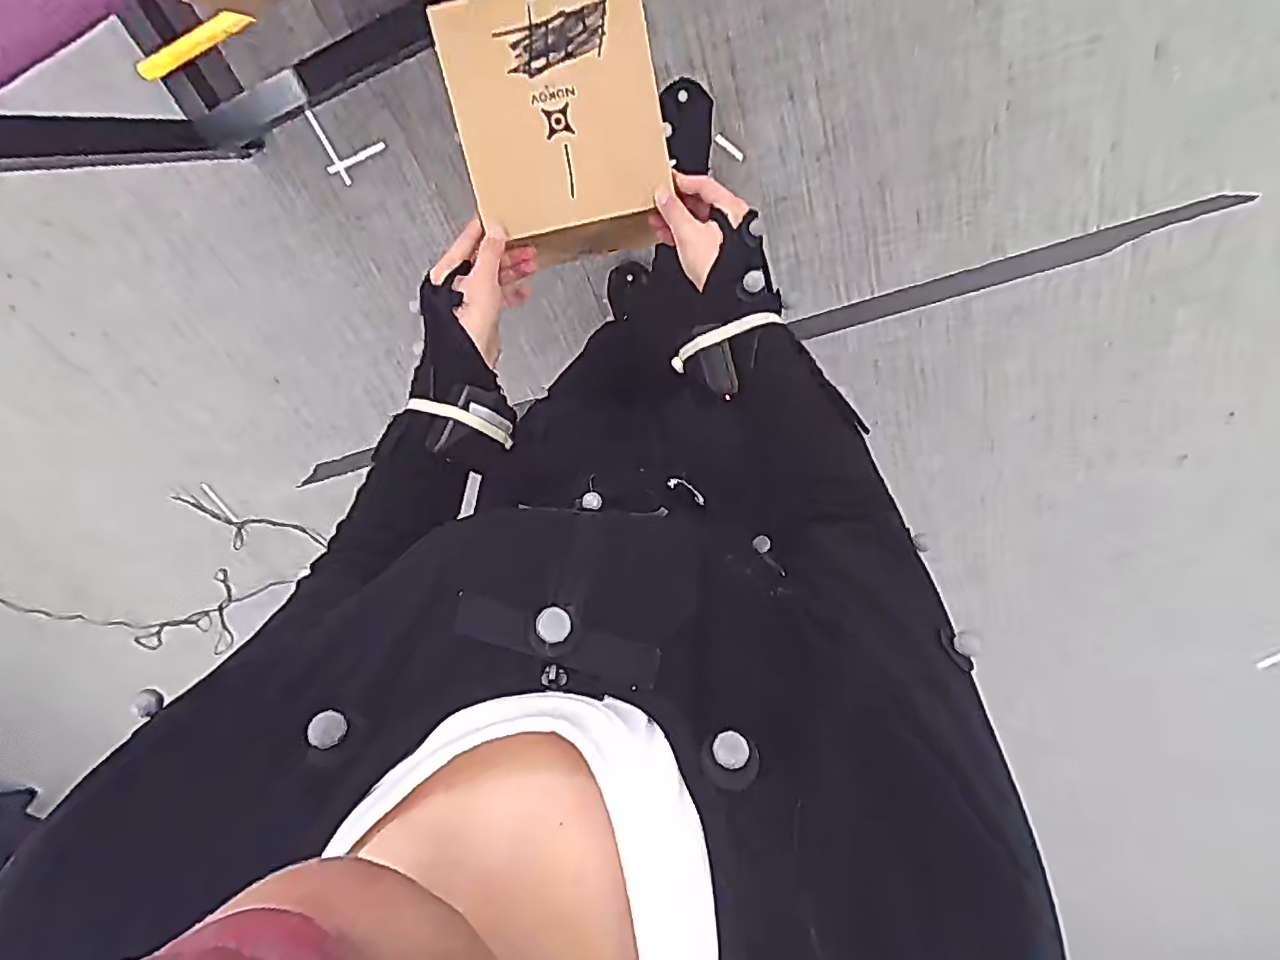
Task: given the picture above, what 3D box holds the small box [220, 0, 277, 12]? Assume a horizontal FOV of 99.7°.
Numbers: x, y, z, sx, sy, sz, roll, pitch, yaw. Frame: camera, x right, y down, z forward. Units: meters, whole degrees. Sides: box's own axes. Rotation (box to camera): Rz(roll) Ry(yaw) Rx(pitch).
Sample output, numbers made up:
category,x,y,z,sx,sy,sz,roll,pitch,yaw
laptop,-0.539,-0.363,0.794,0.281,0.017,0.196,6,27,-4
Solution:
category,x,y,z,sx,sy,sz,roll,pitch,yaw
small box,-0.582,-0.790,0.735,0.168,0.176,0.179,-17,121,15
